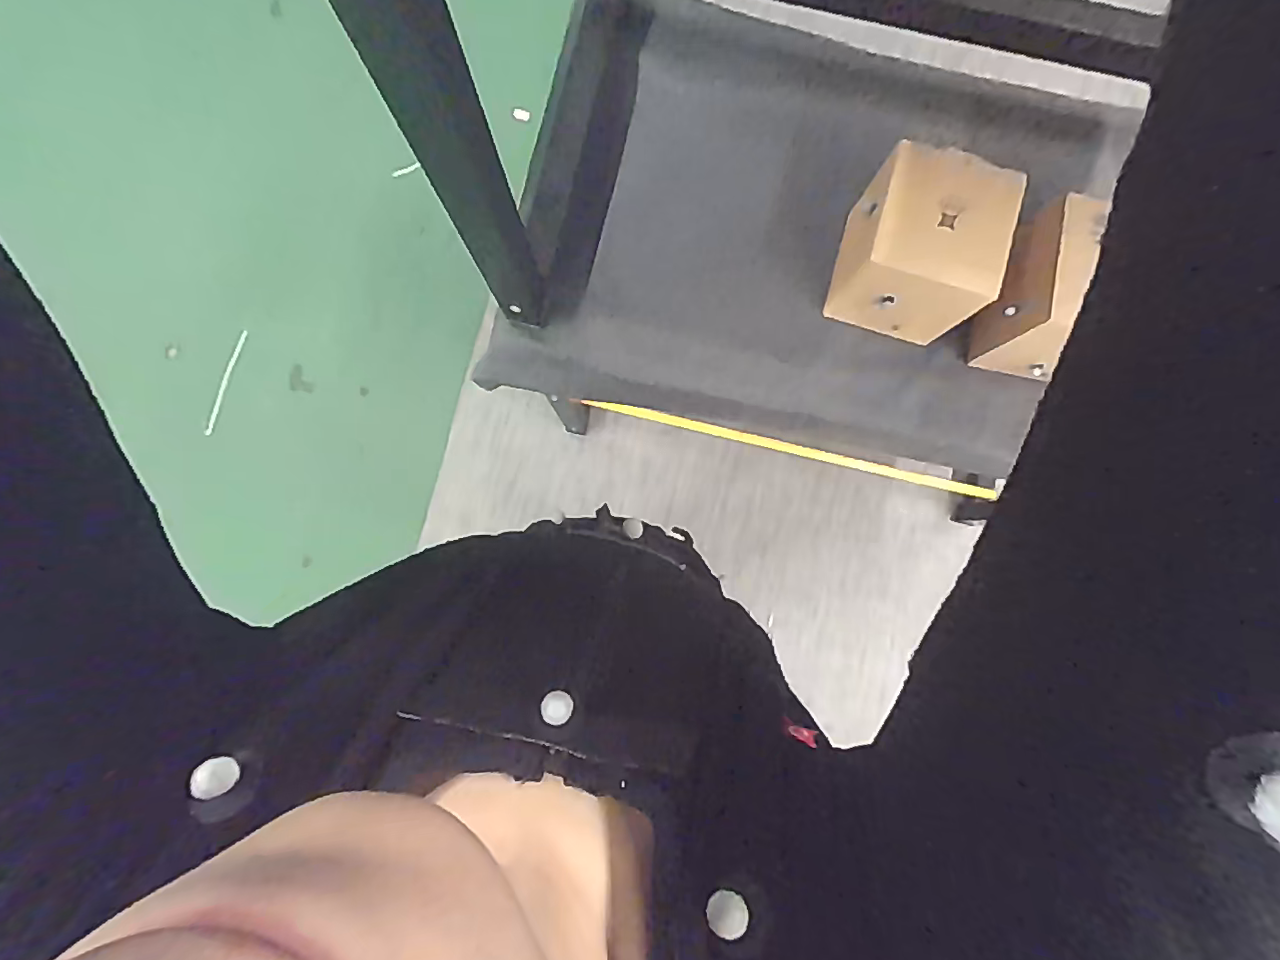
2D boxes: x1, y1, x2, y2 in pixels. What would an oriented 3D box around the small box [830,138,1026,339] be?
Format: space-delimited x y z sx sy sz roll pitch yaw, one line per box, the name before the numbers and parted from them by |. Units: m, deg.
small box | 0.383 -0.320 0.753 0.168 0.176 0.179 17 83 1
